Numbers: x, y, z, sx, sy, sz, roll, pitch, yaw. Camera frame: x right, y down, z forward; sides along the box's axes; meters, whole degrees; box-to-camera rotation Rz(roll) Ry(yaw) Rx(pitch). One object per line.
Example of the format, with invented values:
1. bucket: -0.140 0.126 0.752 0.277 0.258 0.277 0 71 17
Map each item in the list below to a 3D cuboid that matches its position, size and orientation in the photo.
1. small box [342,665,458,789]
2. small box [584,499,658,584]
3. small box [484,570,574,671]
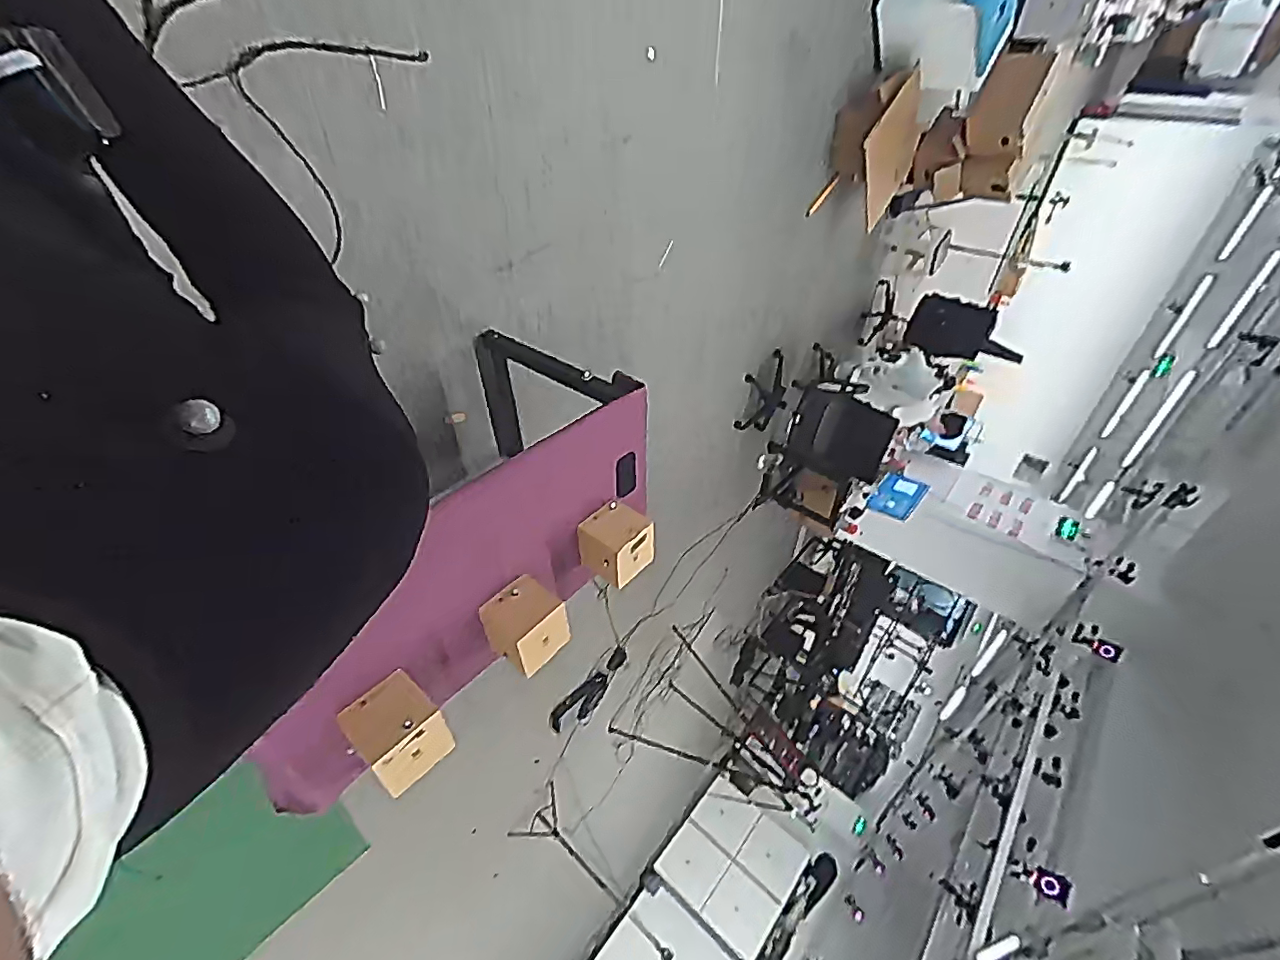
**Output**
1. small box: -0.561 0.573 1.270 0.168 0.176 0.179 -37 142 -36
2. small box: -0.060 0.180 1.675 0.168 0.176 0.179 -37 143 -33
3. small box: -0.303 0.381 1.490 0.168 0.176 0.179 -38 142 -34
